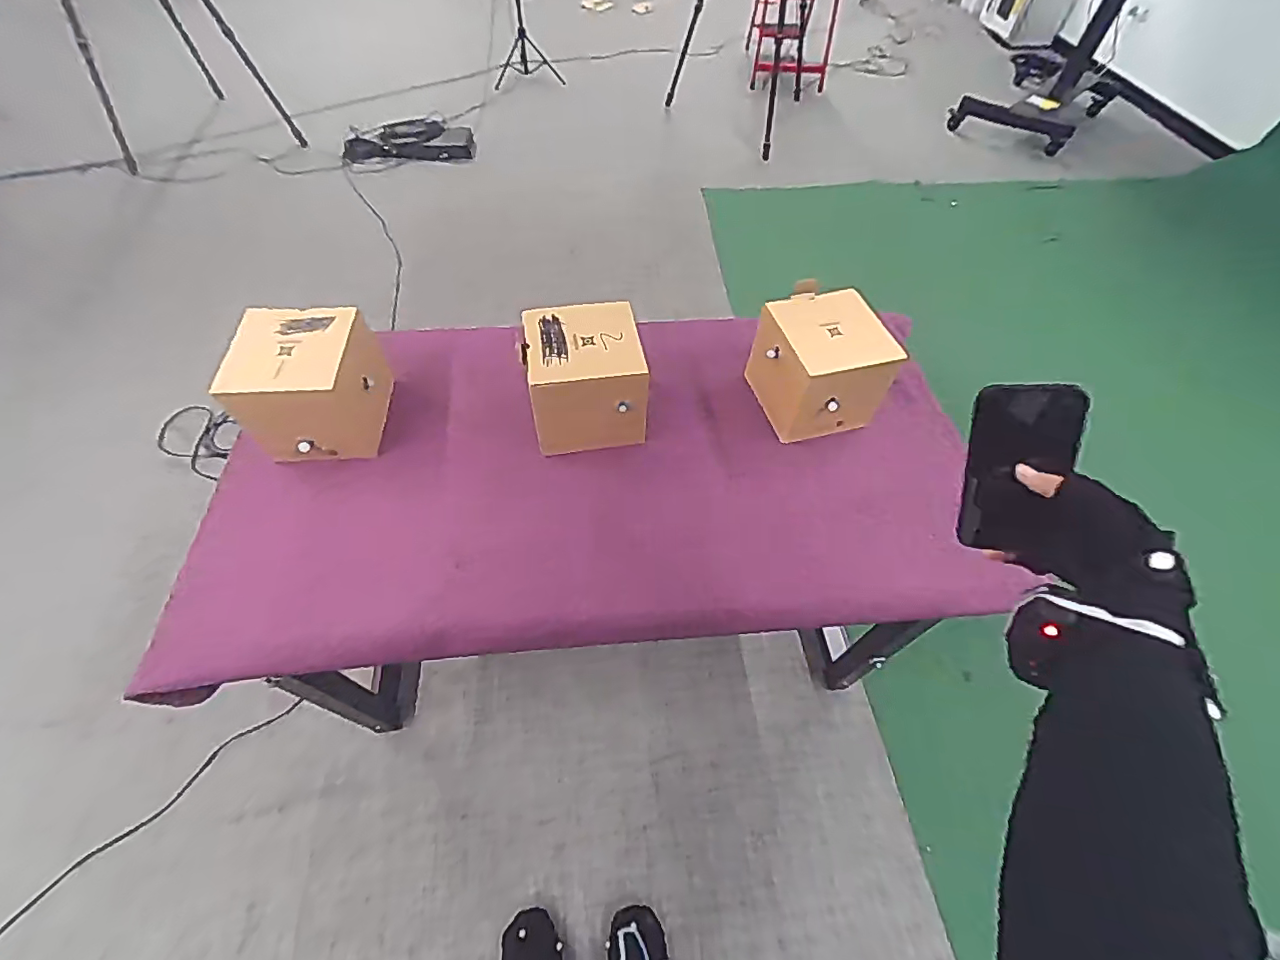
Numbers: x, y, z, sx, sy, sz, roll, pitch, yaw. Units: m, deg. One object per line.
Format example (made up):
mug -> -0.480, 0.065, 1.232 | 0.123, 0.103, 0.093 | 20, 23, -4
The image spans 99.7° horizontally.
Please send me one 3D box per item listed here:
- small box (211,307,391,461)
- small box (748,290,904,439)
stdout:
small box -> -0.511, -0.148, 0.850 | 0.168, 0.176, 0.179 | -2, 58, -4
small box -> 0.300, -0.187, 0.913 | 0.168, 0.176, 0.179 | -12, 57, -10
